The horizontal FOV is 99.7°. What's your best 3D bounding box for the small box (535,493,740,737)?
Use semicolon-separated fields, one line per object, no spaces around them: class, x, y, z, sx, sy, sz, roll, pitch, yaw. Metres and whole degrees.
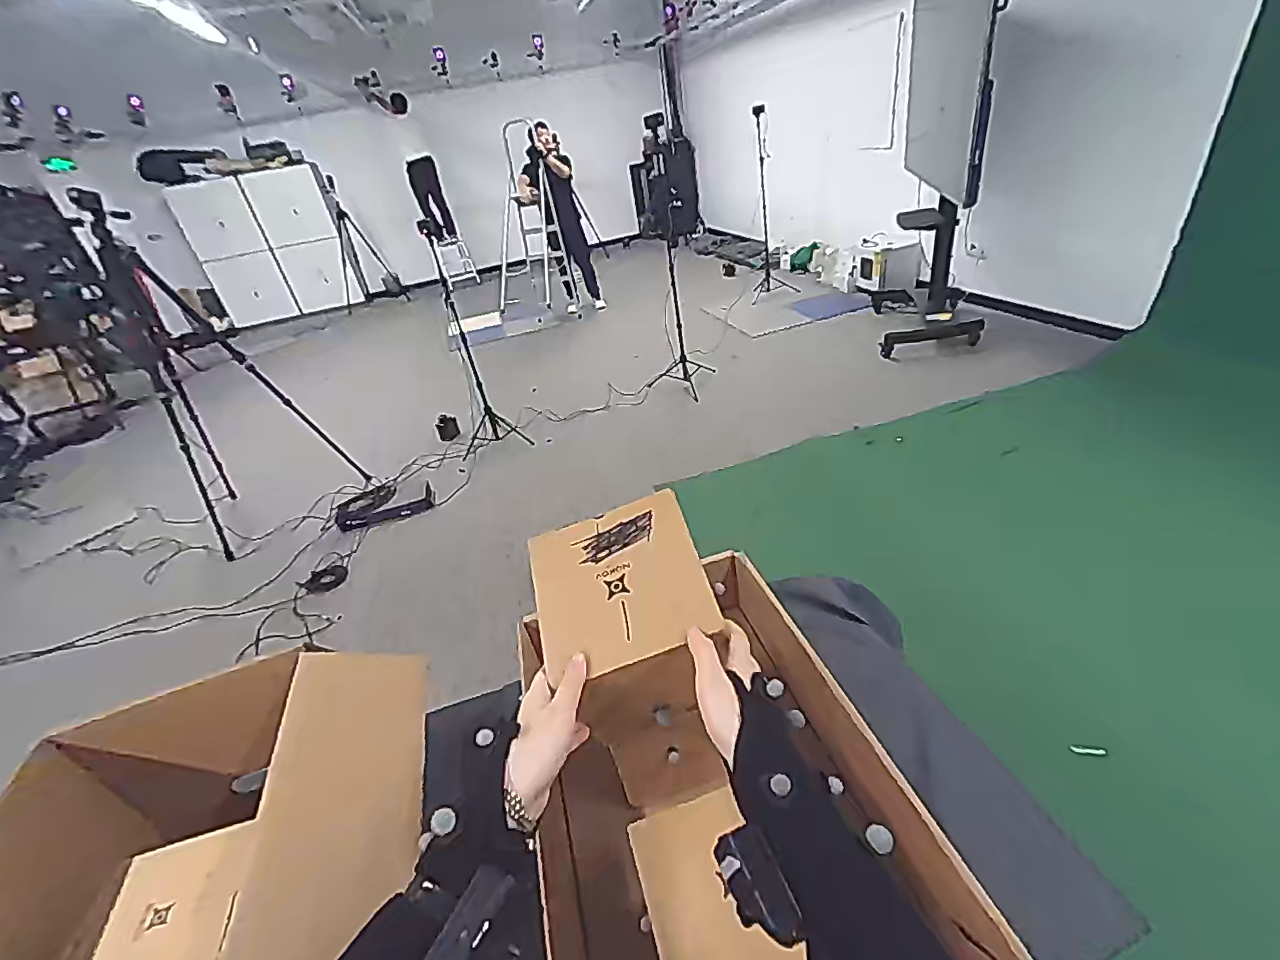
small box;-0.001;0.149;0.589;0.168;0.176;0.179;-19;48;1

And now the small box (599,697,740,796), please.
small box;0.031;0.313;0.773;0.179;0.176;0.168;-17;36;-8
